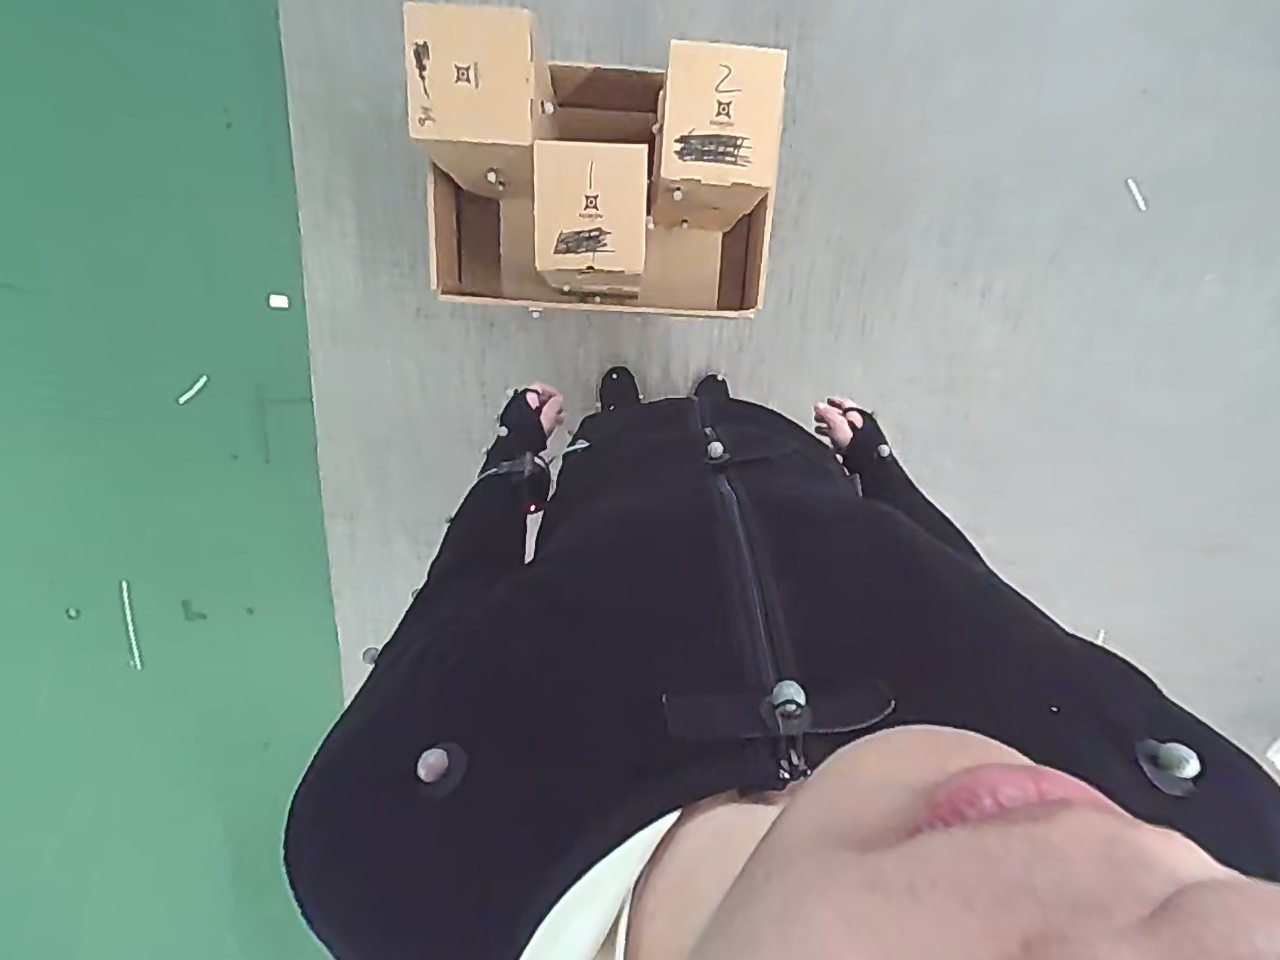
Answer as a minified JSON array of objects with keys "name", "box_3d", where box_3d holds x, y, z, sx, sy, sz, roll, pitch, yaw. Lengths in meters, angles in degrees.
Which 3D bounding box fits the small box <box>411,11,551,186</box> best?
[{"name":"small box","box_3d":[-0.232,-0.568,0.831,0.179,0.176,0.168,3,103,-3]}]
